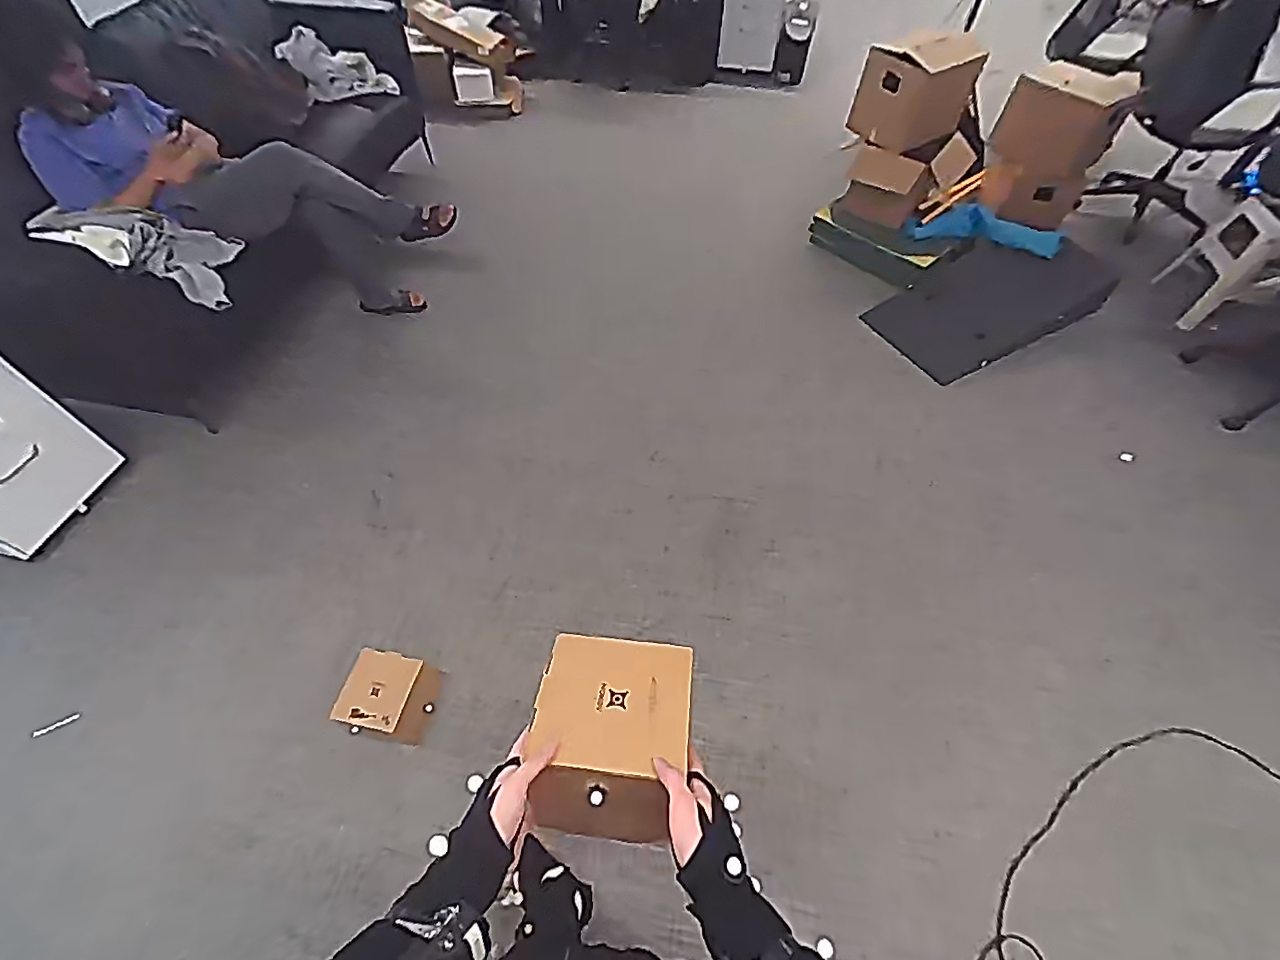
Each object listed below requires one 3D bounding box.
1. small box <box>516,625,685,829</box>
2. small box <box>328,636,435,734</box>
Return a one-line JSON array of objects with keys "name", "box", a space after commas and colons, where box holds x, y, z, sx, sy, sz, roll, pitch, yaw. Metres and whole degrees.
[{"name": "small box", "box": [-0.040, 0.307, 0.674, 0.179, 0.176, 0.168, 6, 37, 3]}, {"name": "small box", "box": [-0.649, 0.527, 1.386, 0.168, 0.176, 0.179, 11, 55, 6]}]
